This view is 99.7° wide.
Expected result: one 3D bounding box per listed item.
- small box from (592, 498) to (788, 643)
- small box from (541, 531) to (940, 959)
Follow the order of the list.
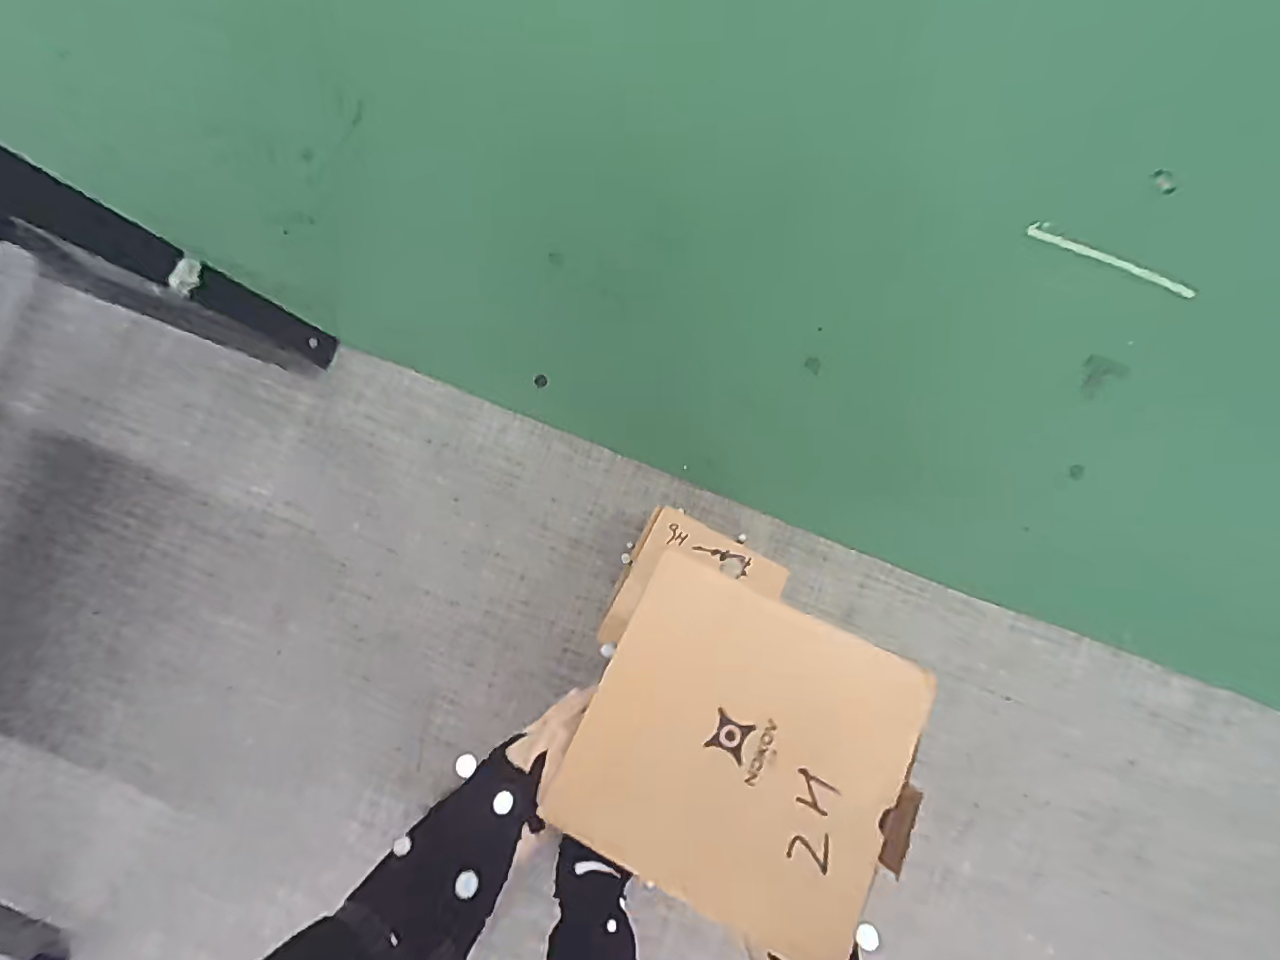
[{"bbox_3d":[0.059,0.138,0.684,0.168,0.176,0.179,28,87,3],"label":"small box"},{"bbox_3d":[0.060,0.158,0.375,0.179,0.176,0.168,25,77,8],"label":"small box"}]
